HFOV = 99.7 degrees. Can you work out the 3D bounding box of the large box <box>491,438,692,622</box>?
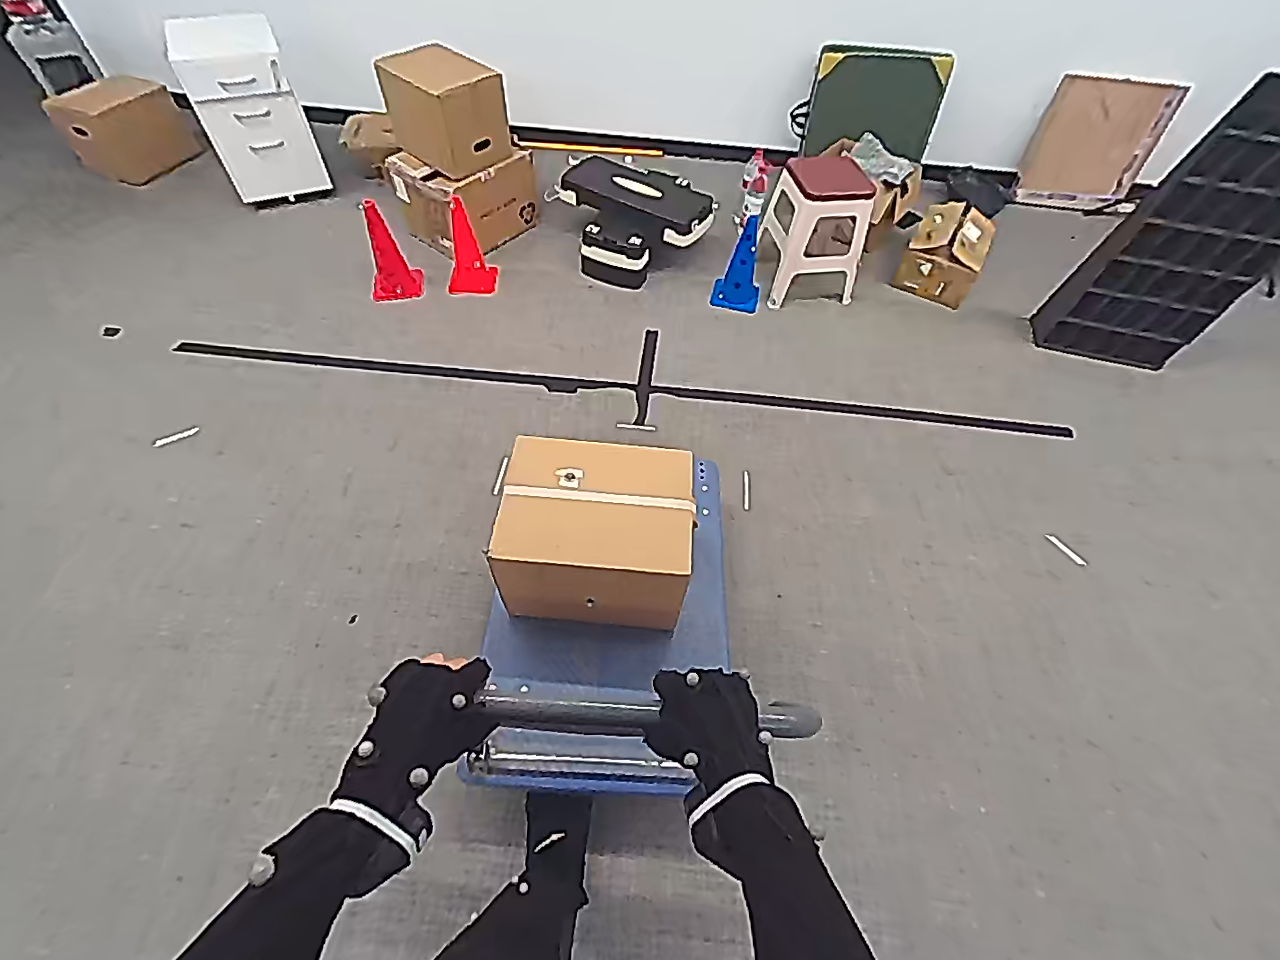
[{"bbox_3d":[-0.093,0.127,1.274,0.408,0.320,0.320,5,55,0],"label":"large box"}]
